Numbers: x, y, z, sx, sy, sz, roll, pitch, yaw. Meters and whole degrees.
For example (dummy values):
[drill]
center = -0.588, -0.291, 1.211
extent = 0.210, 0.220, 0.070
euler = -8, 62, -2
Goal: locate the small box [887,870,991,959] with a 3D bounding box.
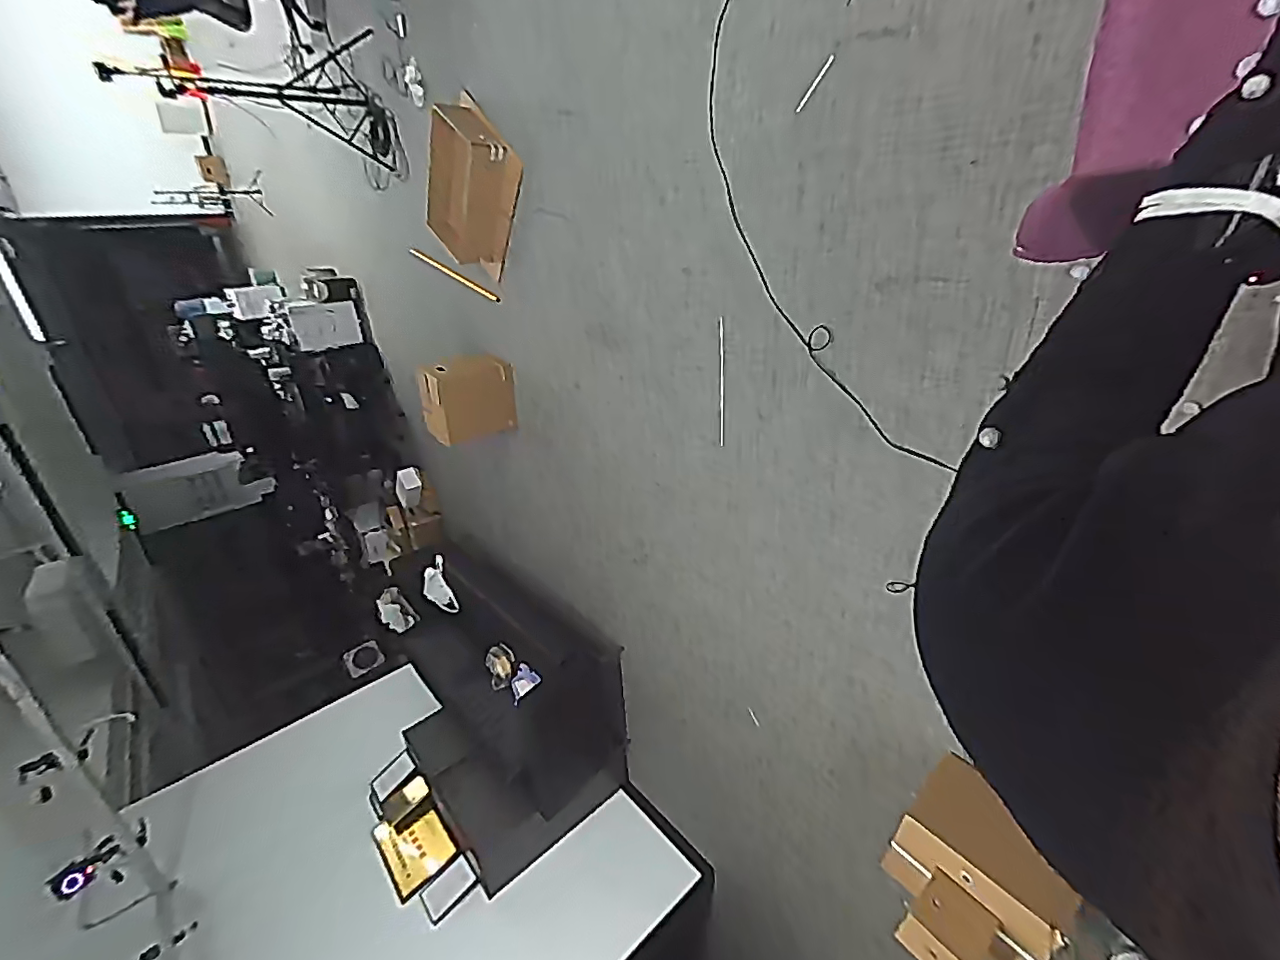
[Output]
[small box]
center = 0.827, 1.234, 1.499
extent = 0.179, 0.176, 0.168
euler = 32, 135, 38
